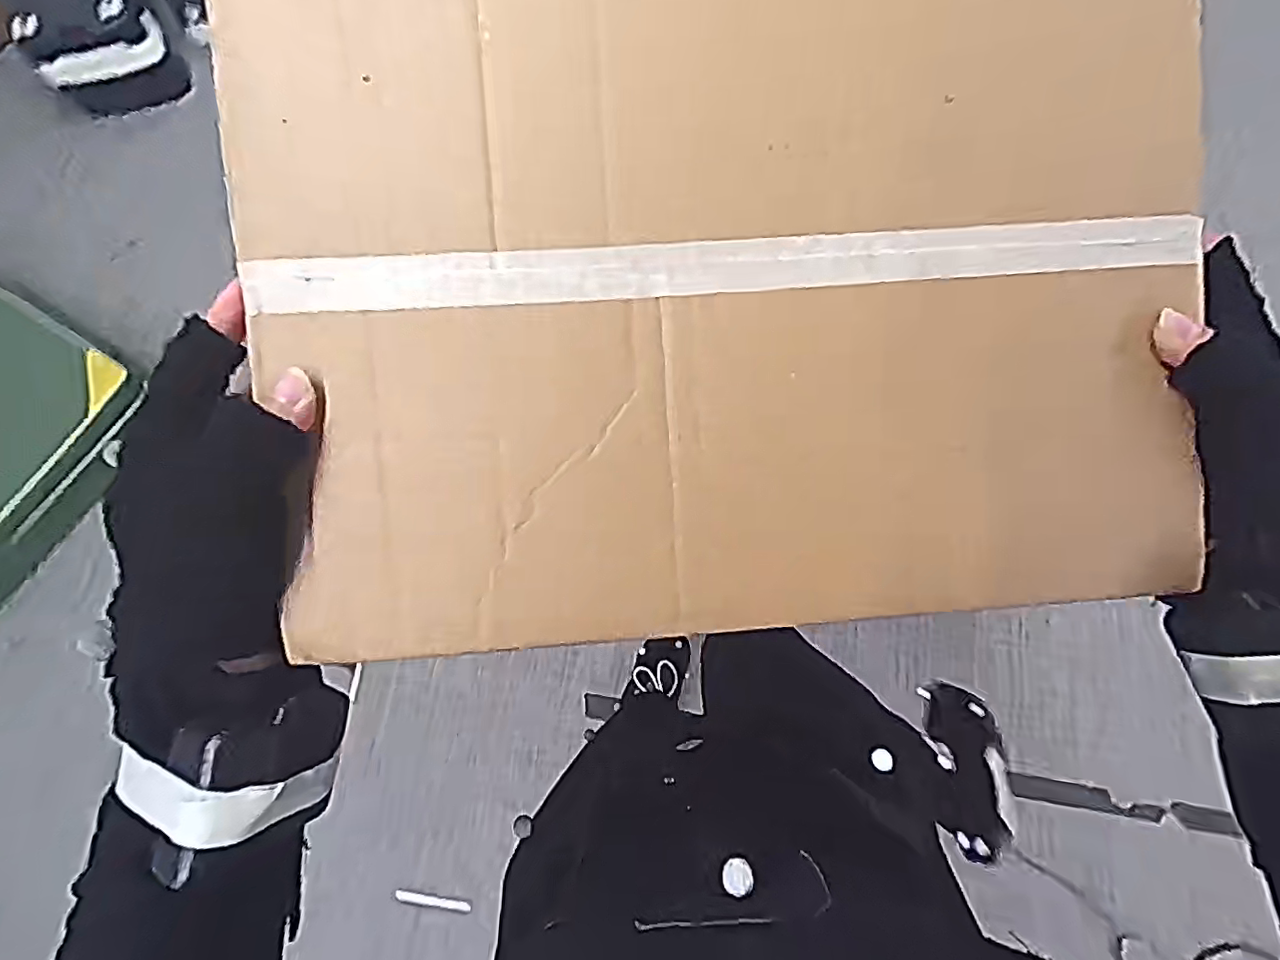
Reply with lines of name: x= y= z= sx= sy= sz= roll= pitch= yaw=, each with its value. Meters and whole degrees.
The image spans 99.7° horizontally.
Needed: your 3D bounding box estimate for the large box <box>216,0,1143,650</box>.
large box: x=0.026 y=-0.105 z=0.389 sx=0.408 sy=0.320 sz=0.320 roll=-5 pitch=94 yaw=-3
